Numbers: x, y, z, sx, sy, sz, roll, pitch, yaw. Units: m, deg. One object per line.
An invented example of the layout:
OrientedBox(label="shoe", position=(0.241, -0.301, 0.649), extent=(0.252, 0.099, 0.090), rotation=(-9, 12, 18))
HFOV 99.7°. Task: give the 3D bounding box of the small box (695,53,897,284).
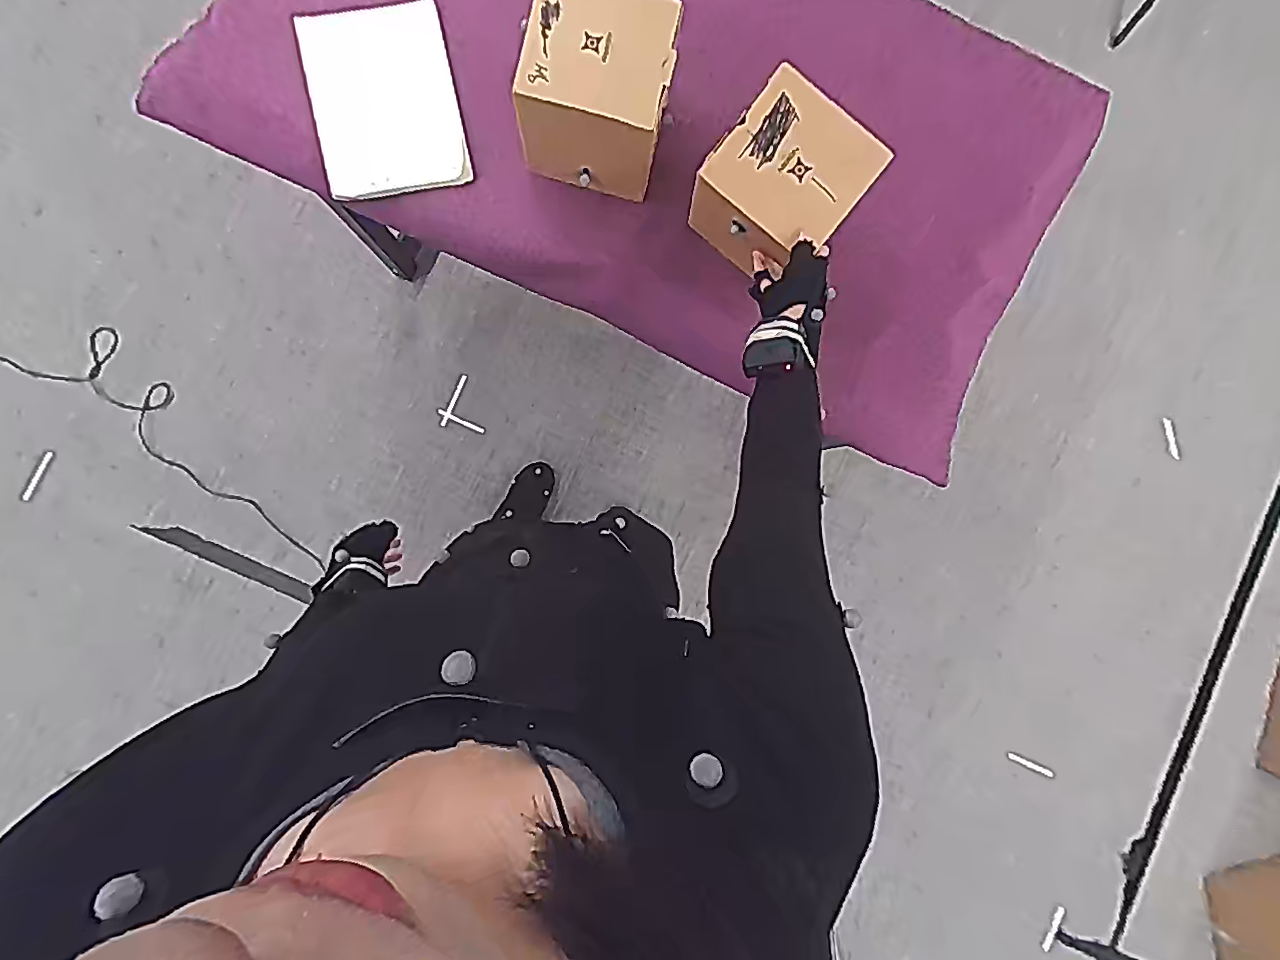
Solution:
OrientedBox(label="small box", position=(0.190, -0.394, 0.723), extent=(0.179, 0.176, 0.168), rotation=(39, 94, -2))

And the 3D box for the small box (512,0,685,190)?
OrientedBox(label="small box", position=(-0.055, -0.519, 0.717), extent=(0.179, 0.176, 0.168), rotation=(13, 87, -5))
